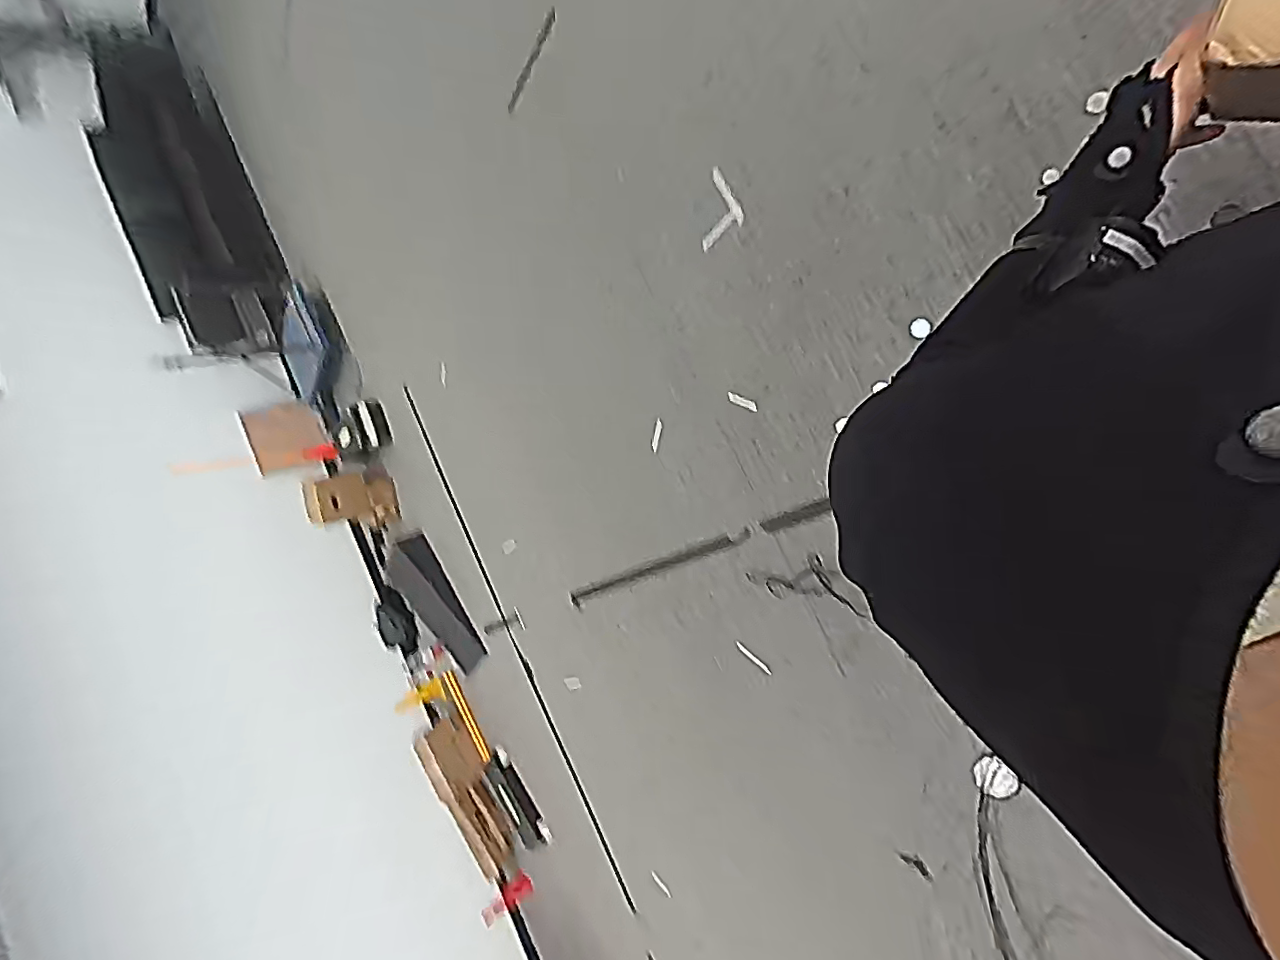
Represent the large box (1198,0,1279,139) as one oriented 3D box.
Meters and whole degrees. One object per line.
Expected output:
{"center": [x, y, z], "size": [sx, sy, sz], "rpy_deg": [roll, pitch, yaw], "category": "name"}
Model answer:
{"center": [0.481, -0.285, 0.139], "size": [0.408, 0.320, 0.320], "rpy_deg": [25, 128, 35], "category": "large box"}
